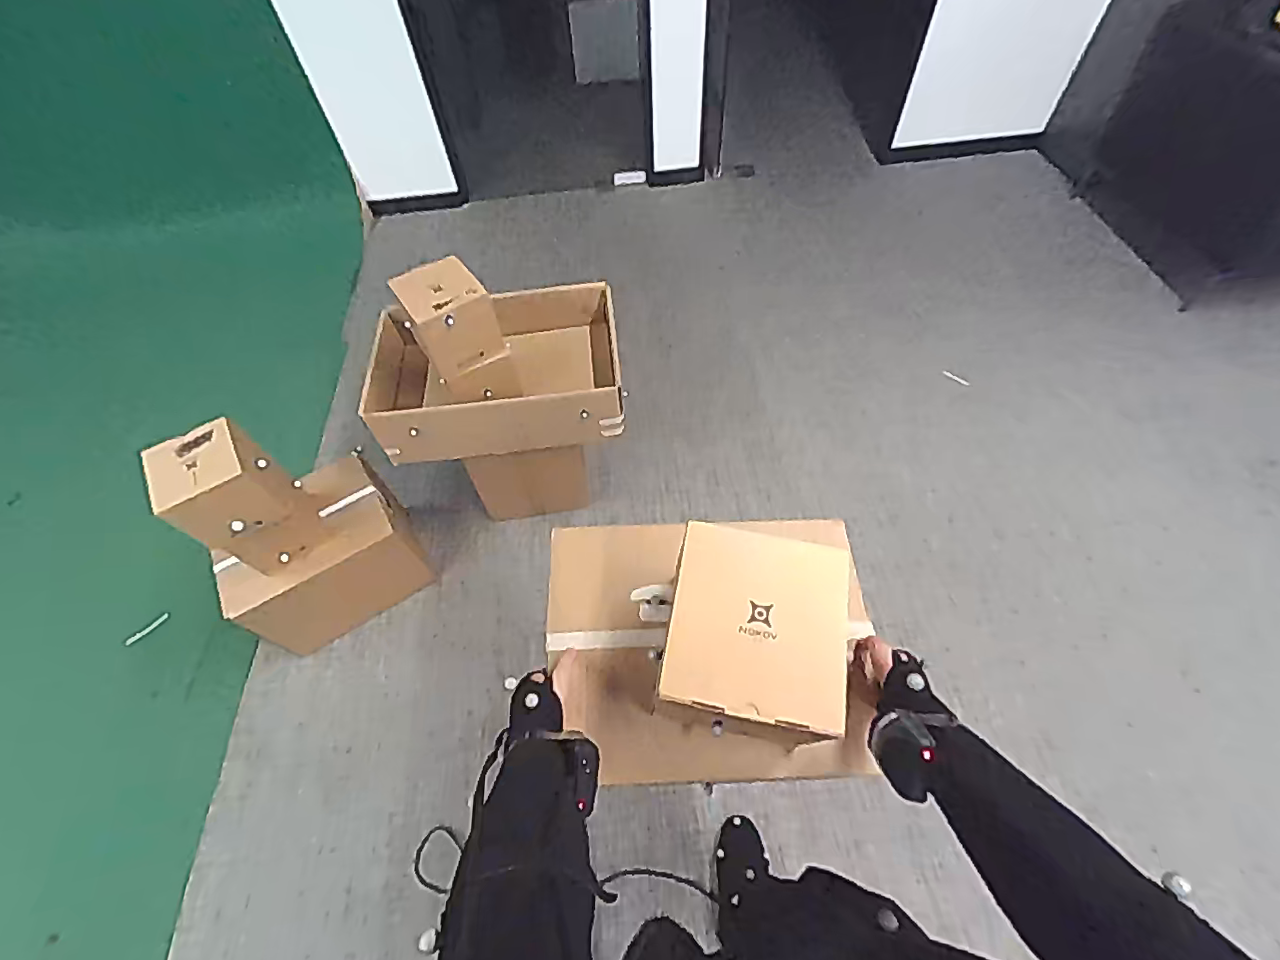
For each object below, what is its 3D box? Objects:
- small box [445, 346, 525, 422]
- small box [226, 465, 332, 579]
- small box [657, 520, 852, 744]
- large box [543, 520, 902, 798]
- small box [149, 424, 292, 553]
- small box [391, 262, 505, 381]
[{"bbox_3d":[-0.412,-0.271,1.381,0.168,0.176,0.179,-26,59,-14],"label":"small box"},{"bbox_3d":[-0.877,0.103,1.286,0.168,0.176,0.179,-35,61,-17],"label":"small box"},{"bbox_3d":[0.112,0.166,0.572,0.168,0.176,0.179,10,63,5],"label":"small box"},{"bbox_3d":[0.089,0.272,0.793,0.408,0.320,0.320,-3,60,0],"label":"large box"},{"bbox_3d":[-0.880,0.021,1.144,0.168,0.176,0.179,-30,61,-15],"label":"small box"},{"bbox_3d":[-0.436,-0.362,1.246,0.168,0.176,0.179,-32,60,-17],"label":"small box"}]
